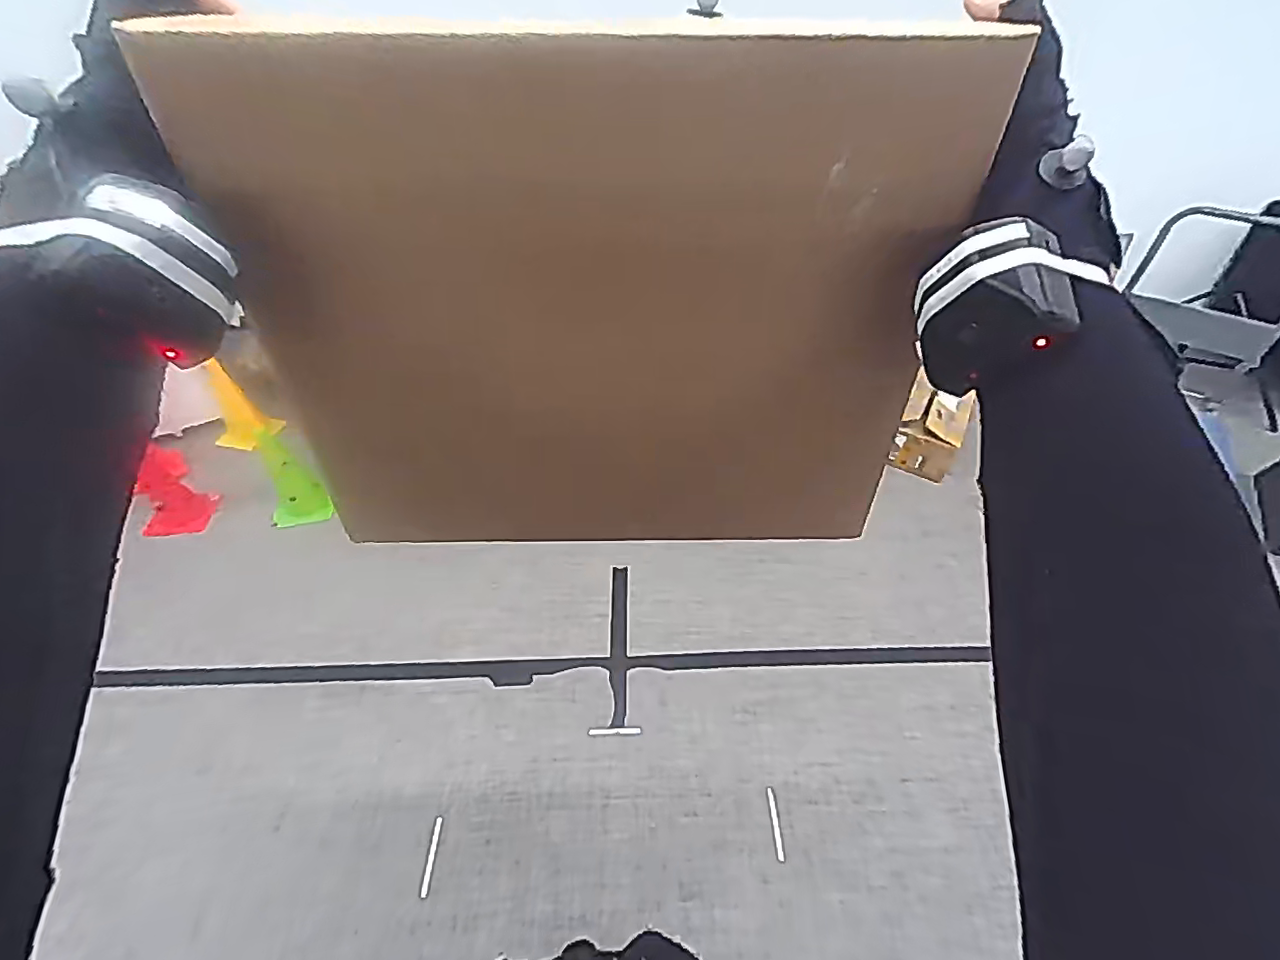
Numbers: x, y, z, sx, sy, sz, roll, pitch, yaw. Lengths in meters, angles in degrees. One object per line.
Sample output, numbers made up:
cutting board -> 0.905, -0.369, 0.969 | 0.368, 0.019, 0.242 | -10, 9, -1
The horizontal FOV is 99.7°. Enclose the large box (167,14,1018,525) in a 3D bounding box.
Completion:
large box -> -0.024, -0.173, 0.455 | 0.408, 0.320, 0.320 | 0, 39, -1
